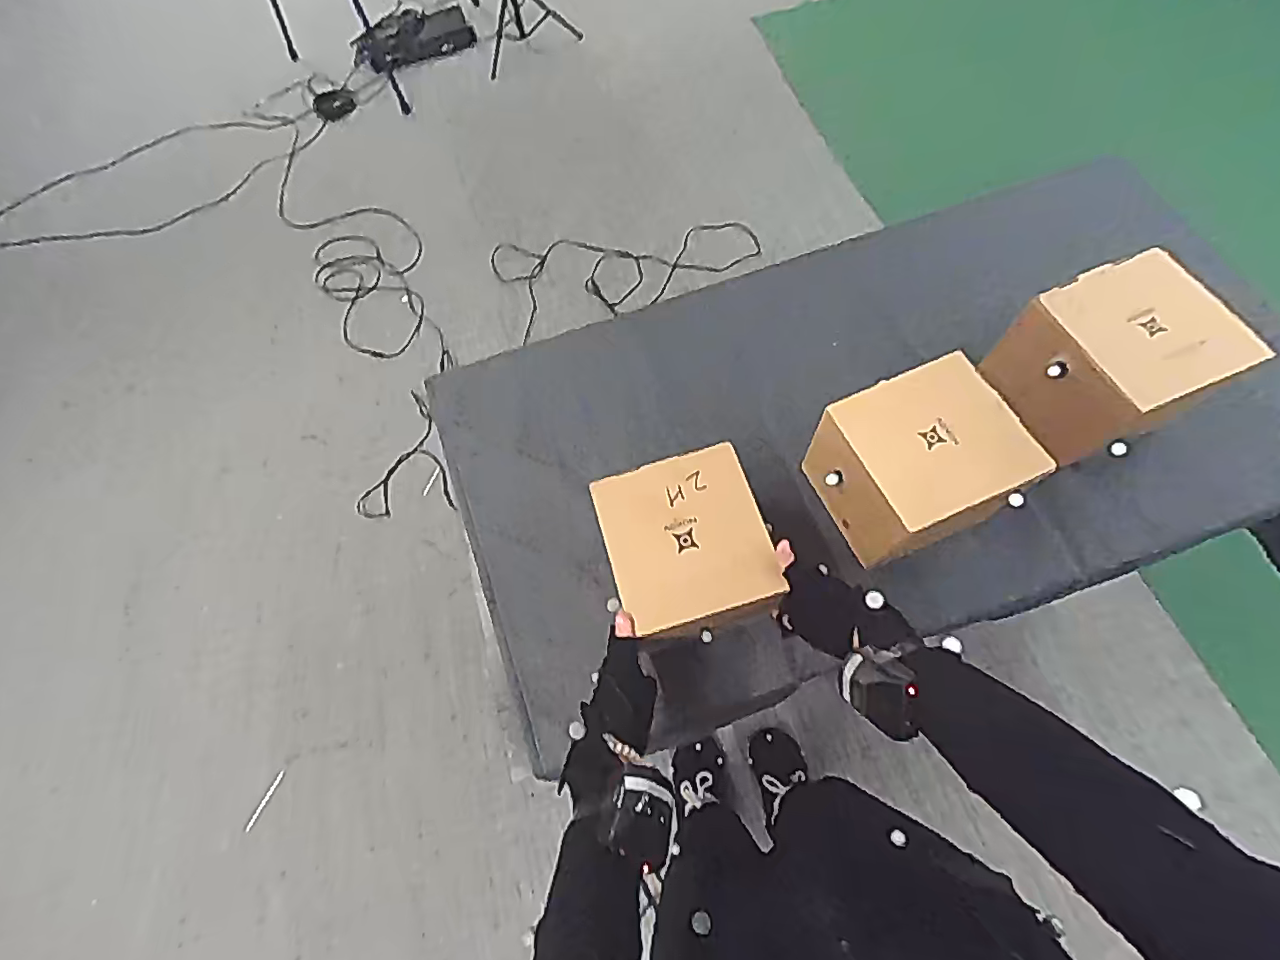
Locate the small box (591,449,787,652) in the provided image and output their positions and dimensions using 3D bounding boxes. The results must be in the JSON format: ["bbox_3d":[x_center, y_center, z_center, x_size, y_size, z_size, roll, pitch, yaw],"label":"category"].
[{"bbox_3d":[0.054,0.093,0.629,0.168,0.176,0.179,-16,67,-2],"label":"small box"}]

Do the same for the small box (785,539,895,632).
[{"bbox_3d":[0.472,0.255,1.309,0.179,0.176,0.168,-21,67,-2],"label":"small box"}]

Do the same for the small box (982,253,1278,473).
[{"bbox_3d":[0.576,-0.136,0.672,0.168,0.176,0.179,-22,67,-2],"label":"small box"}]

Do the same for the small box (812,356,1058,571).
[{"bbox_3d":[0.325,-0.010,0.646,0.179,0.176,0.168,-23,67,-4],"label":"small box"}]
